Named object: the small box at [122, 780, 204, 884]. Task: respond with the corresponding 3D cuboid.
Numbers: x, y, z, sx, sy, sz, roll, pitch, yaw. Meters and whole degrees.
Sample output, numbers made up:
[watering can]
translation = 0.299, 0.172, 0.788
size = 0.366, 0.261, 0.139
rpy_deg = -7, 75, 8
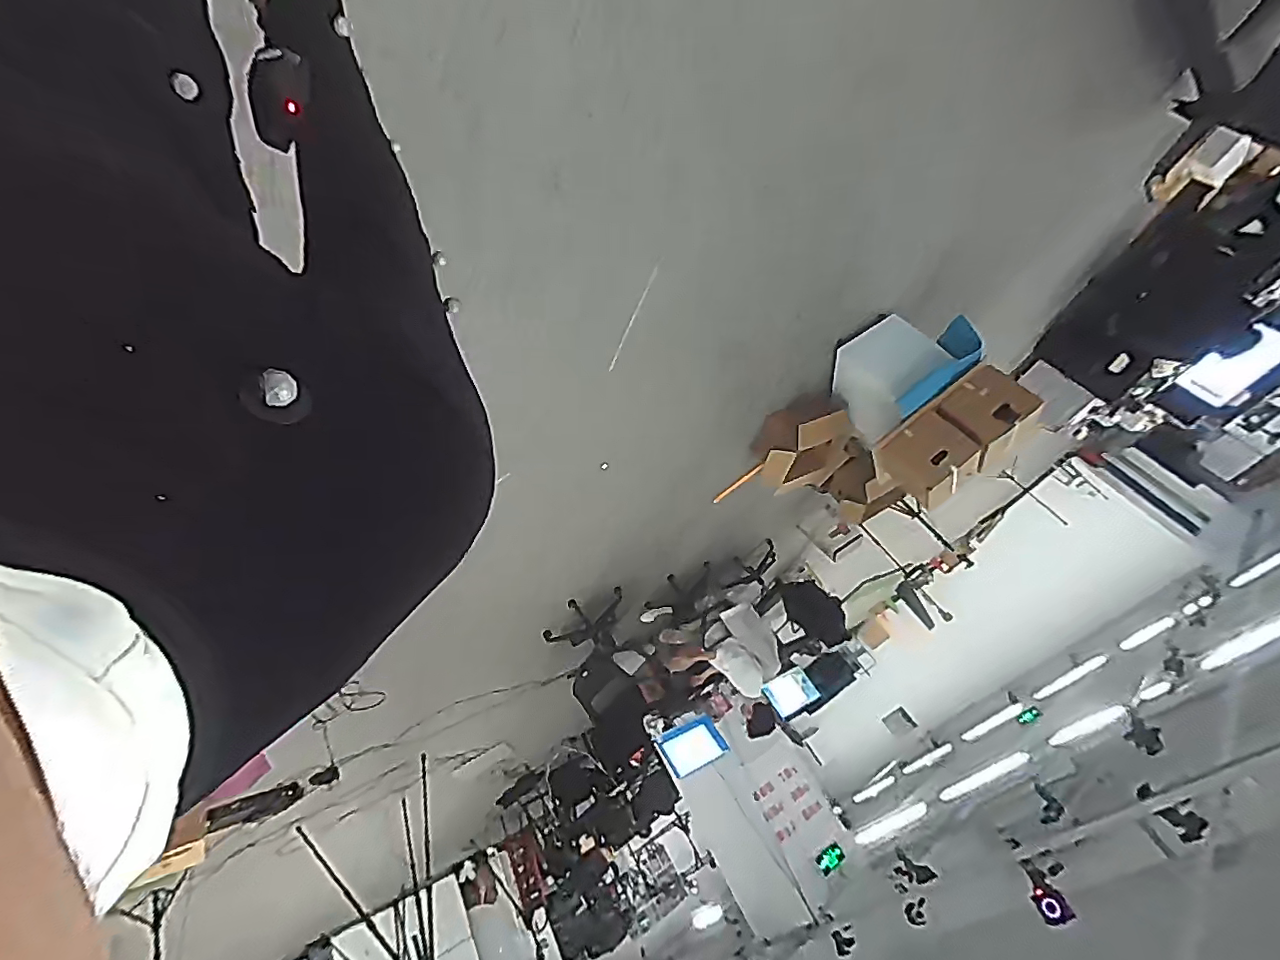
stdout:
[small box]
translation = -1.339, 0.978, 1.518
size = 0.168, 0.176, 0.179
rpy_deg = -2, 136, -41
